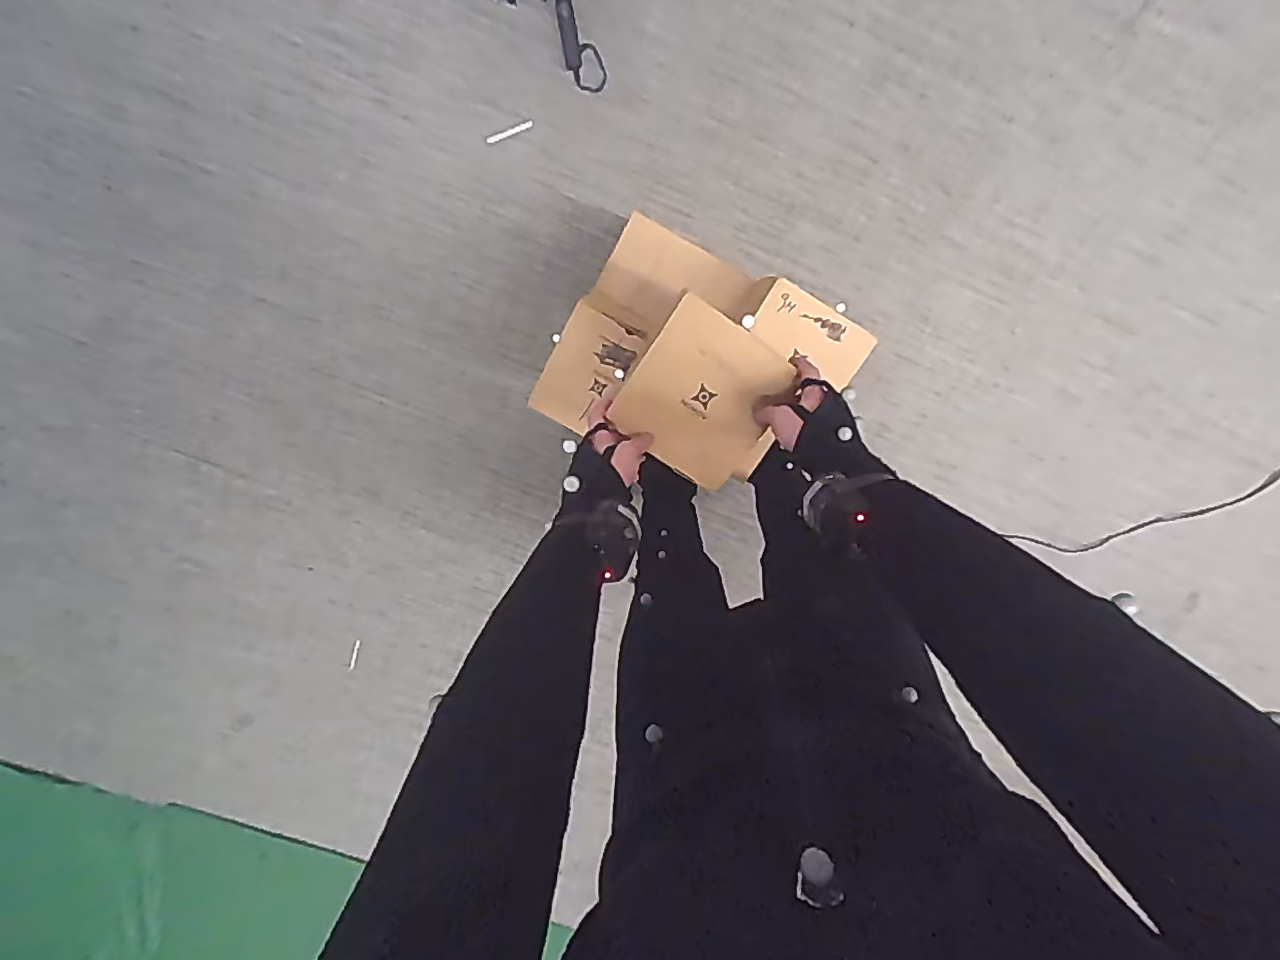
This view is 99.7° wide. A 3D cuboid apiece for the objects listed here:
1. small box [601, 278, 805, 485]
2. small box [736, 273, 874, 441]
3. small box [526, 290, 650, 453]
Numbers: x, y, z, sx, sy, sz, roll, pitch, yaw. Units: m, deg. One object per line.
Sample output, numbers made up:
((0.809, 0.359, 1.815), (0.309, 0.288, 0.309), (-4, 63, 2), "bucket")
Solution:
((0.071, -0.128, 0.676), (0.168, 0.176, 0.179), (32, 107, -11), "small box")
((0.212, -0.190, 0.823), (0.168, 0.176, 0.179), (30, 108, -7), "small box")
((-0.051, -0.177, 0.840), (0.168, 0.176, 0.179), (31, 111, -8), "small box")
